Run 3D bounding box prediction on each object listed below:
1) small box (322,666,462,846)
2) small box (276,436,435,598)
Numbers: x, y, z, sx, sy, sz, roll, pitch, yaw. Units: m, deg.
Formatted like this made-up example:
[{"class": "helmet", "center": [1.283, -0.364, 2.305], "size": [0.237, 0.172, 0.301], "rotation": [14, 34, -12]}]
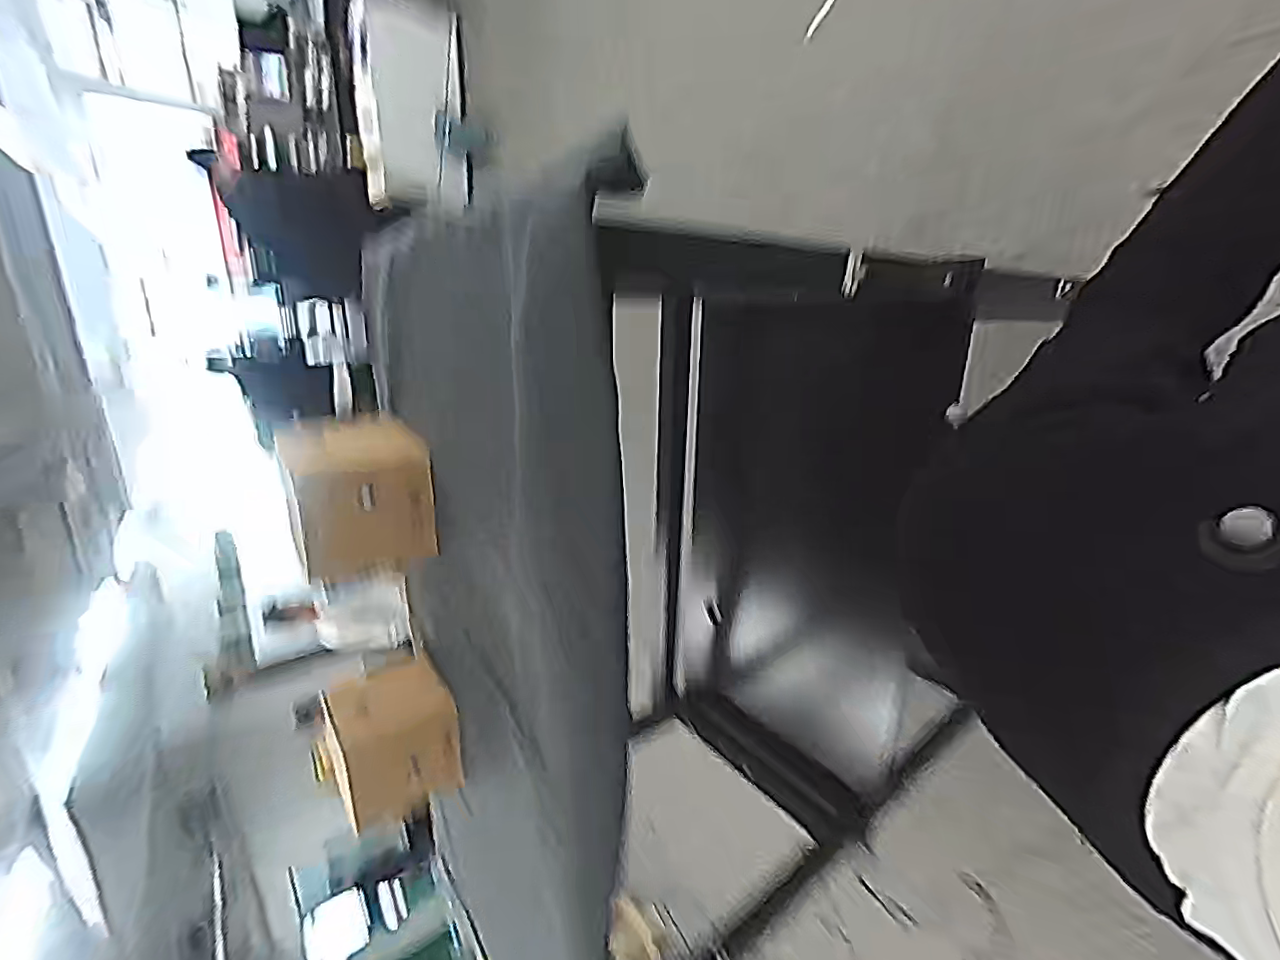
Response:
[{"class": "small box", "center": [-0.402, 0.437, 0.893], "size": [0.179, 0.176, 0.168], "rotation": [19, 115, 49]}, {"class": "small box", "center": [-0.405, 0.039, 0.783], "size": [0.179, 0.176, 0.168], "rotation": [28, 121, 47]}]
